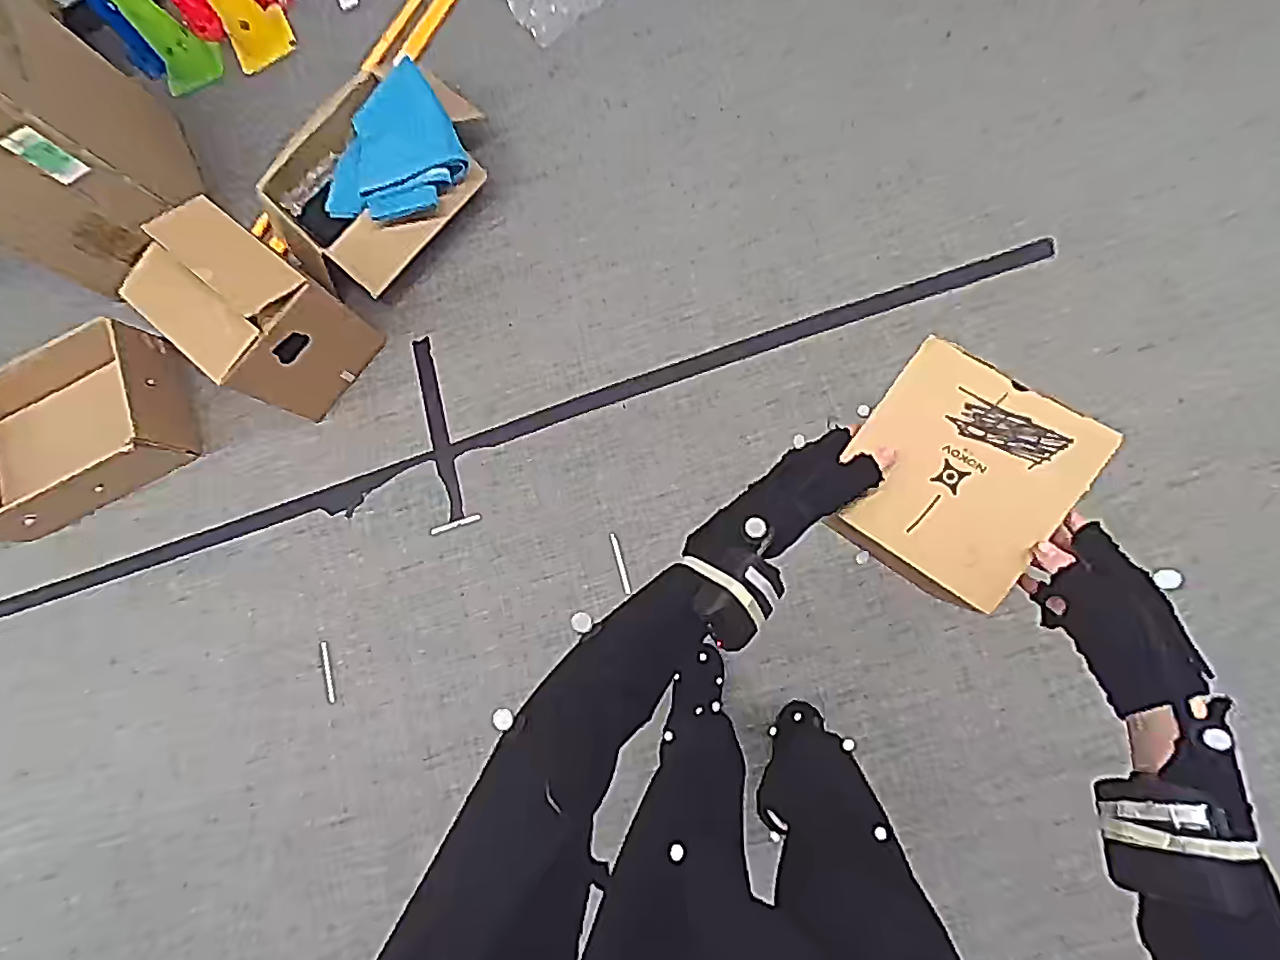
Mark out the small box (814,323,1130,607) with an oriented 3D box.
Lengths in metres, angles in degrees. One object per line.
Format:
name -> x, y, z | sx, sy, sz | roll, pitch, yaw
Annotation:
small box -> 0.278, -0.008, 0.508 | 0.168, 0.176, 0.179 | 36, 94, 17
